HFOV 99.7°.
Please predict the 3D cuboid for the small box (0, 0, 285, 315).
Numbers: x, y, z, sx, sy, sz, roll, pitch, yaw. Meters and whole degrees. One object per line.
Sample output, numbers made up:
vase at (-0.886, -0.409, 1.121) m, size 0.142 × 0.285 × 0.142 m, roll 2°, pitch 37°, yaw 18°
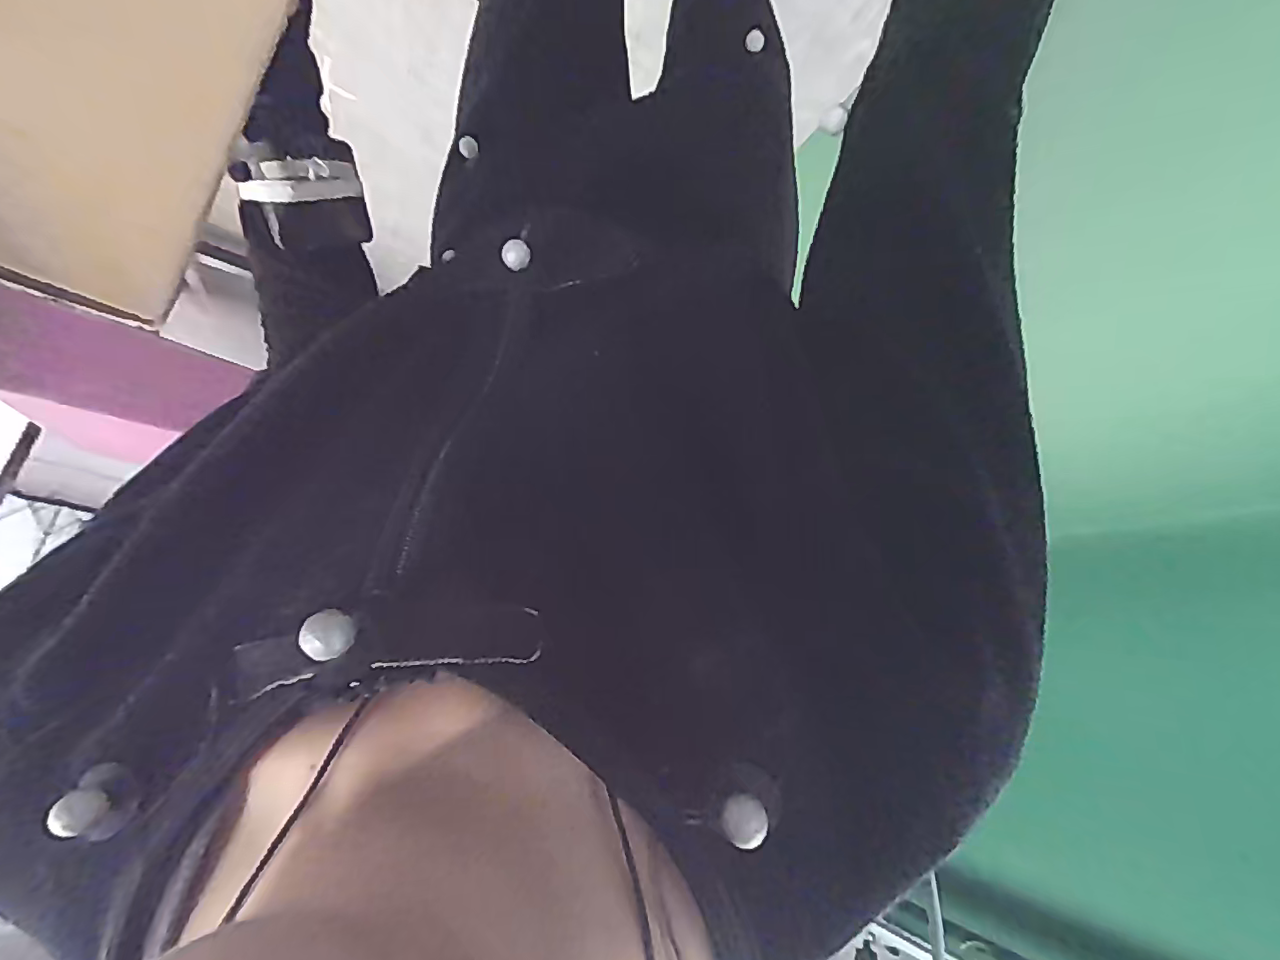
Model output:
small box at (-0.228, -0.169, 0.155) m, size 0.168 × 0.176 × 0.179 m, roll 18°, pitch 176°, yaw 40°
